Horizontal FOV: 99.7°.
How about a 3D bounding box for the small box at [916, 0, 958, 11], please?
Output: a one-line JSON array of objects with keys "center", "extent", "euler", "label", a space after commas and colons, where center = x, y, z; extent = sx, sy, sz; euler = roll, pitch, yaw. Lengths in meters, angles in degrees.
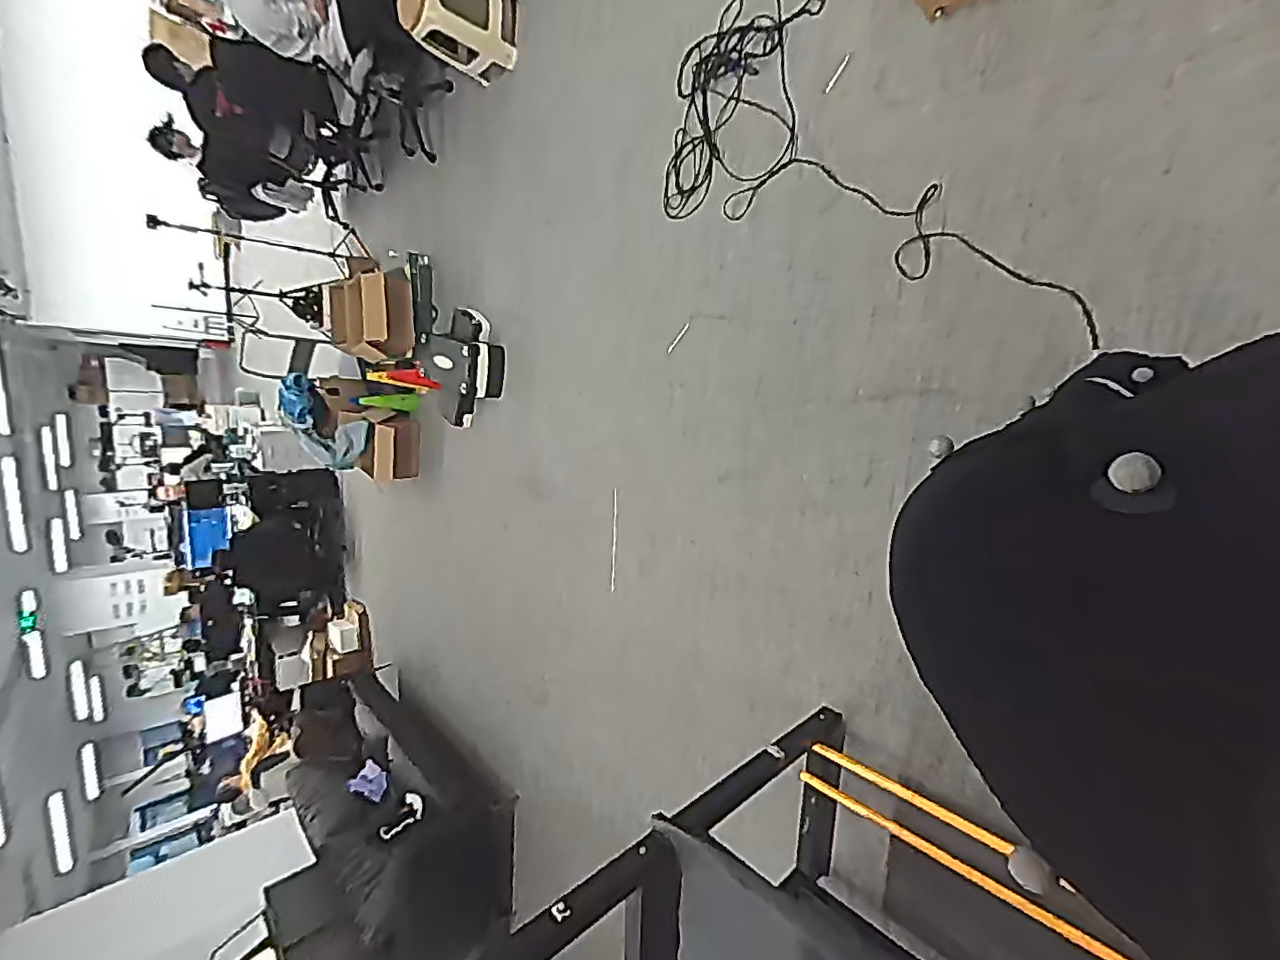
[{"center": [0.702, -1.201, 1.202], "extent": [0.168, 0.176, 0.179], "euler": [8, 100, 46], "label": "small box"}]
